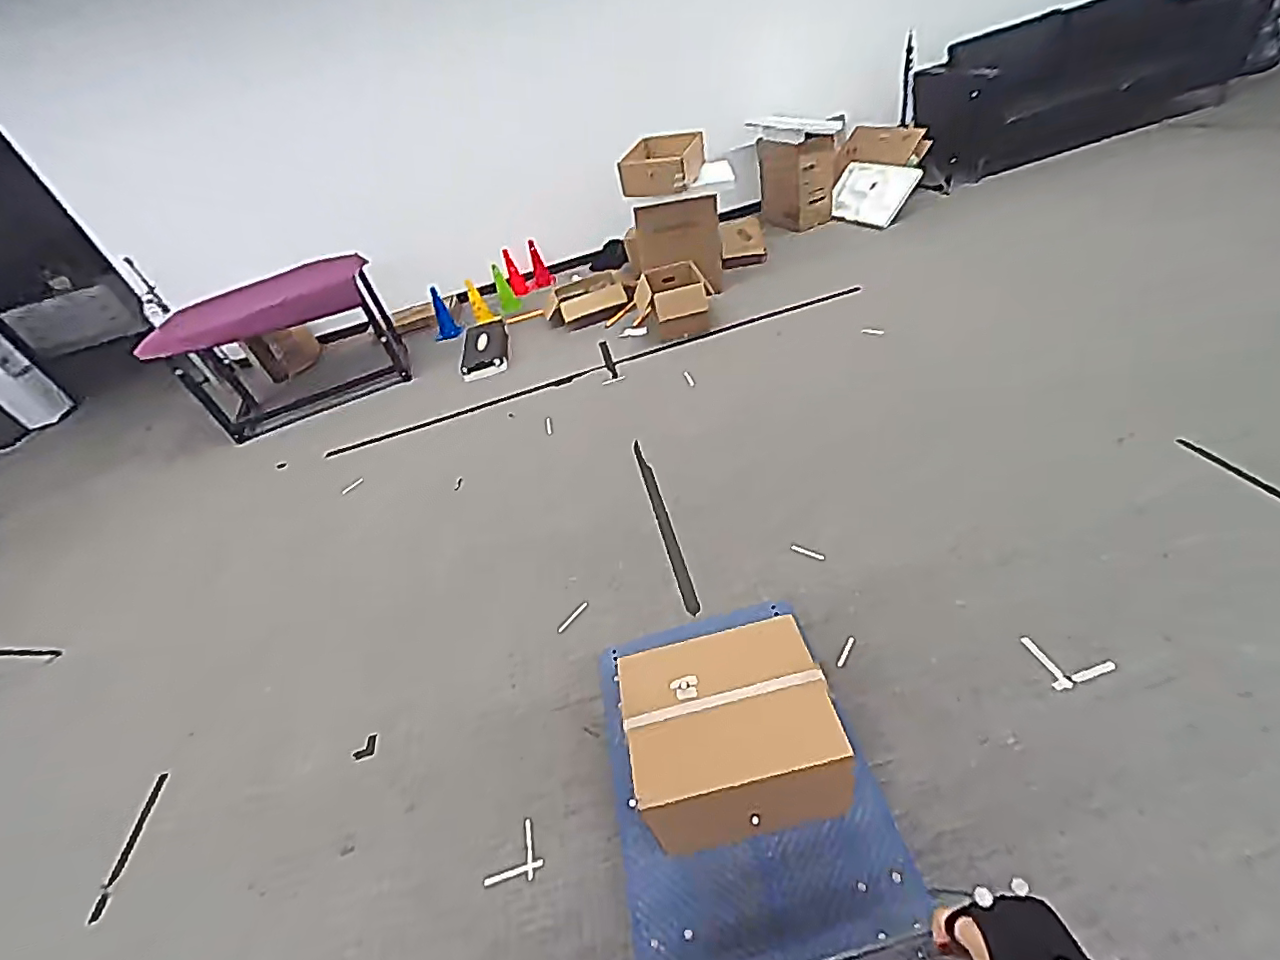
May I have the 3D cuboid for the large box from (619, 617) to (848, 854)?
[{"bbox_3d":[0.201,0.566,1.199,0.408,0.320,0.320,-16,39,2],"label":"large box"}]
